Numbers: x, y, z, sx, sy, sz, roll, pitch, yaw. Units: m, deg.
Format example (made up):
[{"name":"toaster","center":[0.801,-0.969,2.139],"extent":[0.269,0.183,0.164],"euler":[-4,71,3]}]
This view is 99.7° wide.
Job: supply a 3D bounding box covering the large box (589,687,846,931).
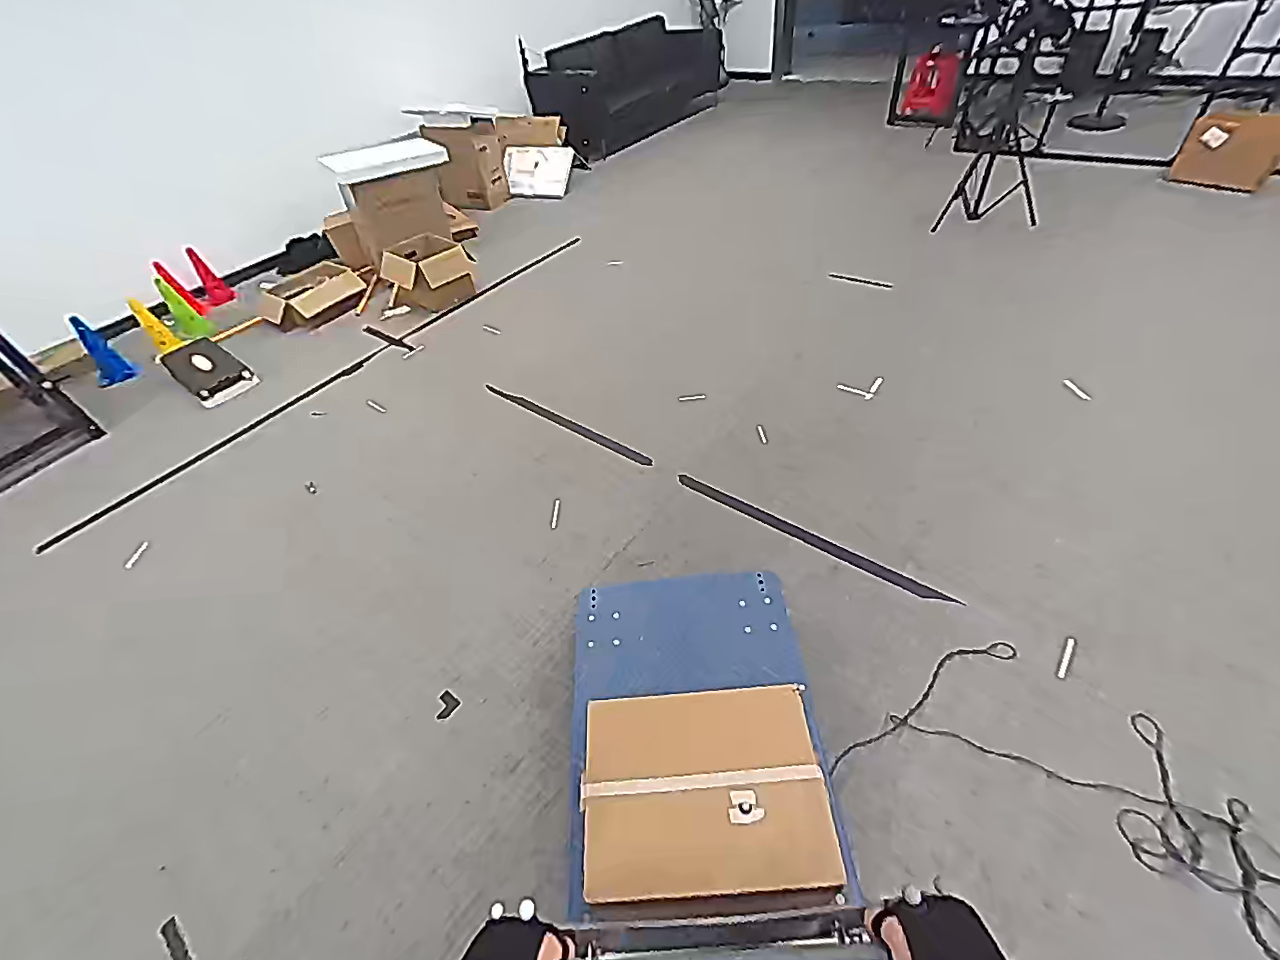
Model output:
[{"name":"large box","center":[0.121,0.629,1.033],"extent":[0.408,0.320,0.320],"euler":[-5,46,1]}]
